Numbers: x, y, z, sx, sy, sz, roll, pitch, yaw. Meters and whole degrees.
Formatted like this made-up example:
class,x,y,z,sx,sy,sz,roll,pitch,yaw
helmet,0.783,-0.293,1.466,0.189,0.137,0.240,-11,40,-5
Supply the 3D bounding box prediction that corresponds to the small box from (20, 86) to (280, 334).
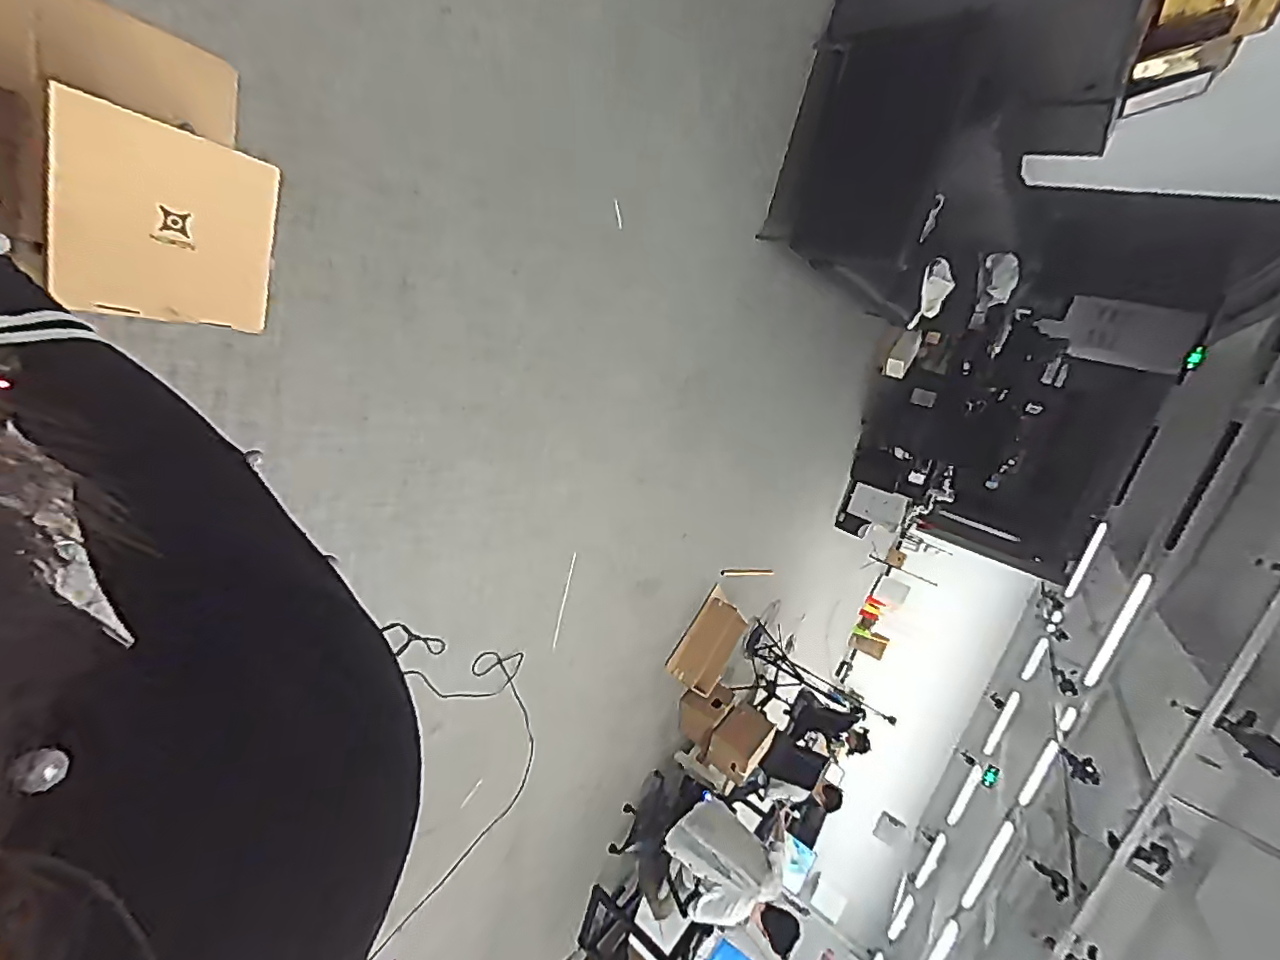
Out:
class,x,y,z,sx,sy,sz,roll,pitch,yaw
small box,-0.507,-0.270,0.560,0.168,0.176,0.179,-3,115,-54
